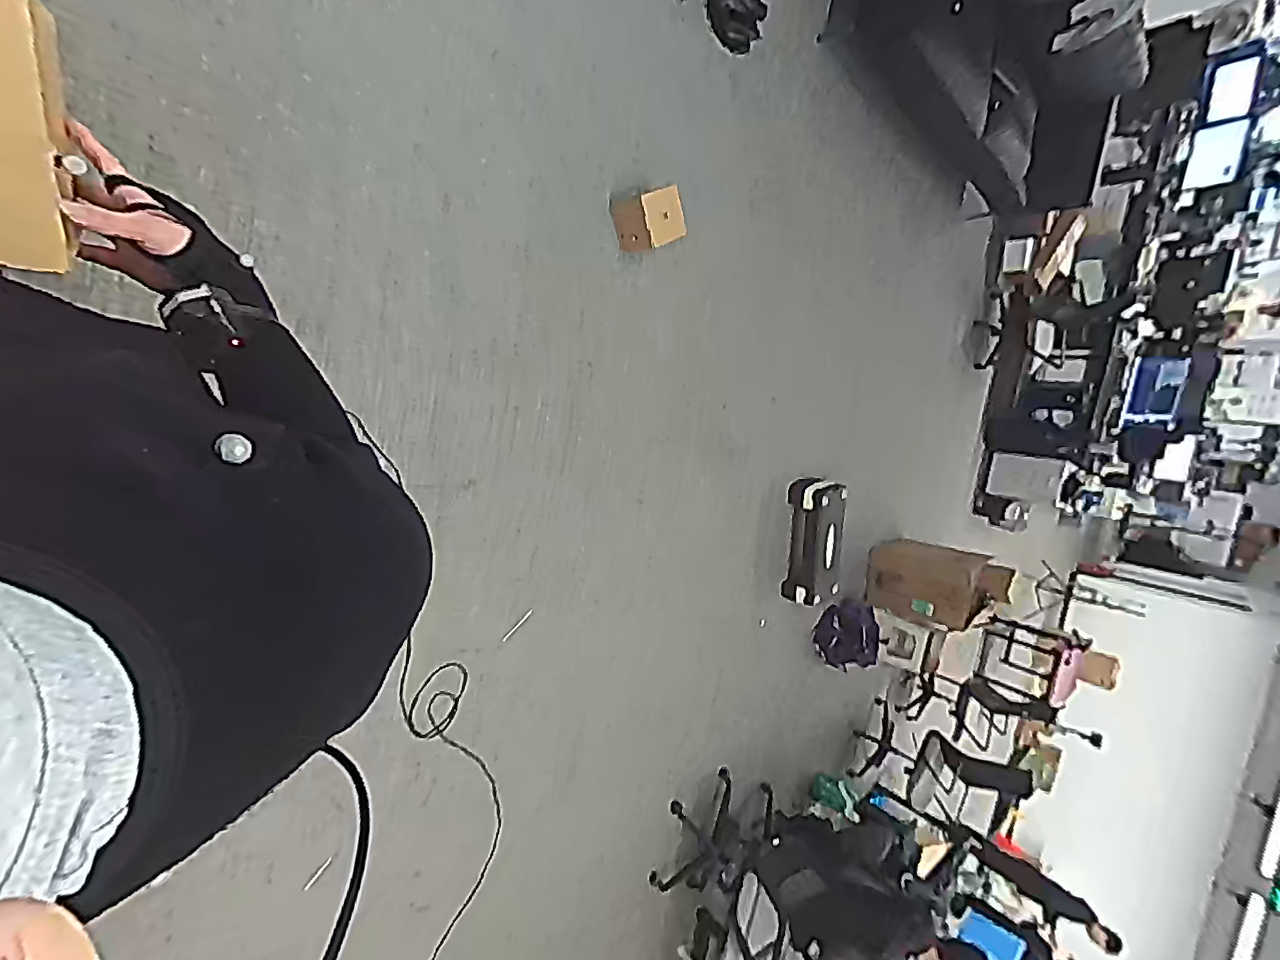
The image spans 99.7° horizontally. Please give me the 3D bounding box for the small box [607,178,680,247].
[{"bbox_3d":[0.006,-0.924,1.877,0.179,0.176,0.168,-39,125,-31],"label":"small box"}]
